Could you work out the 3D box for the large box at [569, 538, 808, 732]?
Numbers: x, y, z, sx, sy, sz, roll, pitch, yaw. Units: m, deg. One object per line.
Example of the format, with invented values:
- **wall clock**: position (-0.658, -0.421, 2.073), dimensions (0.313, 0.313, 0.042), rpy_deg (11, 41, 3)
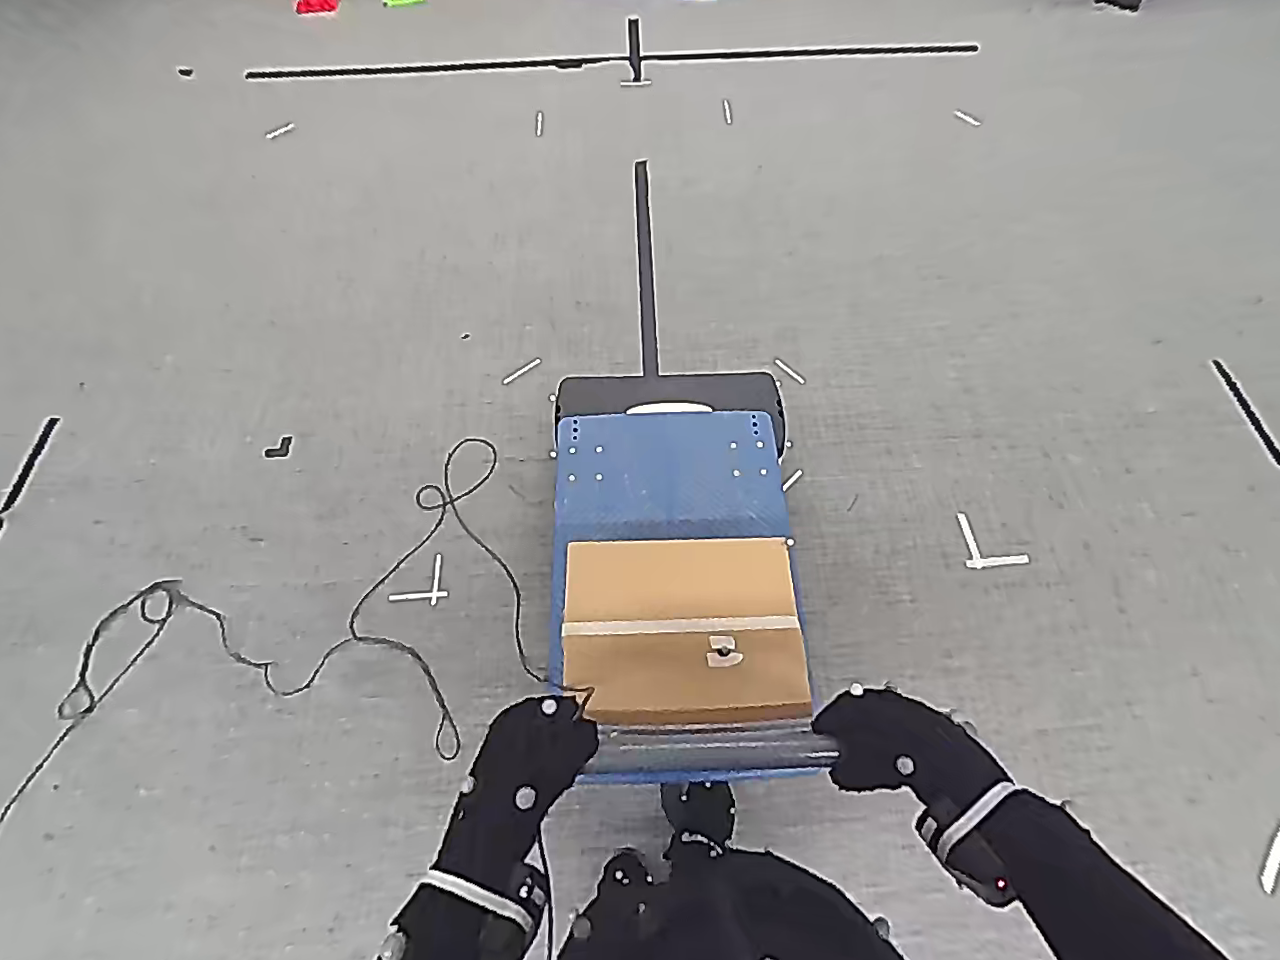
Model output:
- **large box**: position (0.071, 0.320, 1.082), dimensions (0.408, 0.320, 0.320), rpy_deg (-1, 64, -2)
